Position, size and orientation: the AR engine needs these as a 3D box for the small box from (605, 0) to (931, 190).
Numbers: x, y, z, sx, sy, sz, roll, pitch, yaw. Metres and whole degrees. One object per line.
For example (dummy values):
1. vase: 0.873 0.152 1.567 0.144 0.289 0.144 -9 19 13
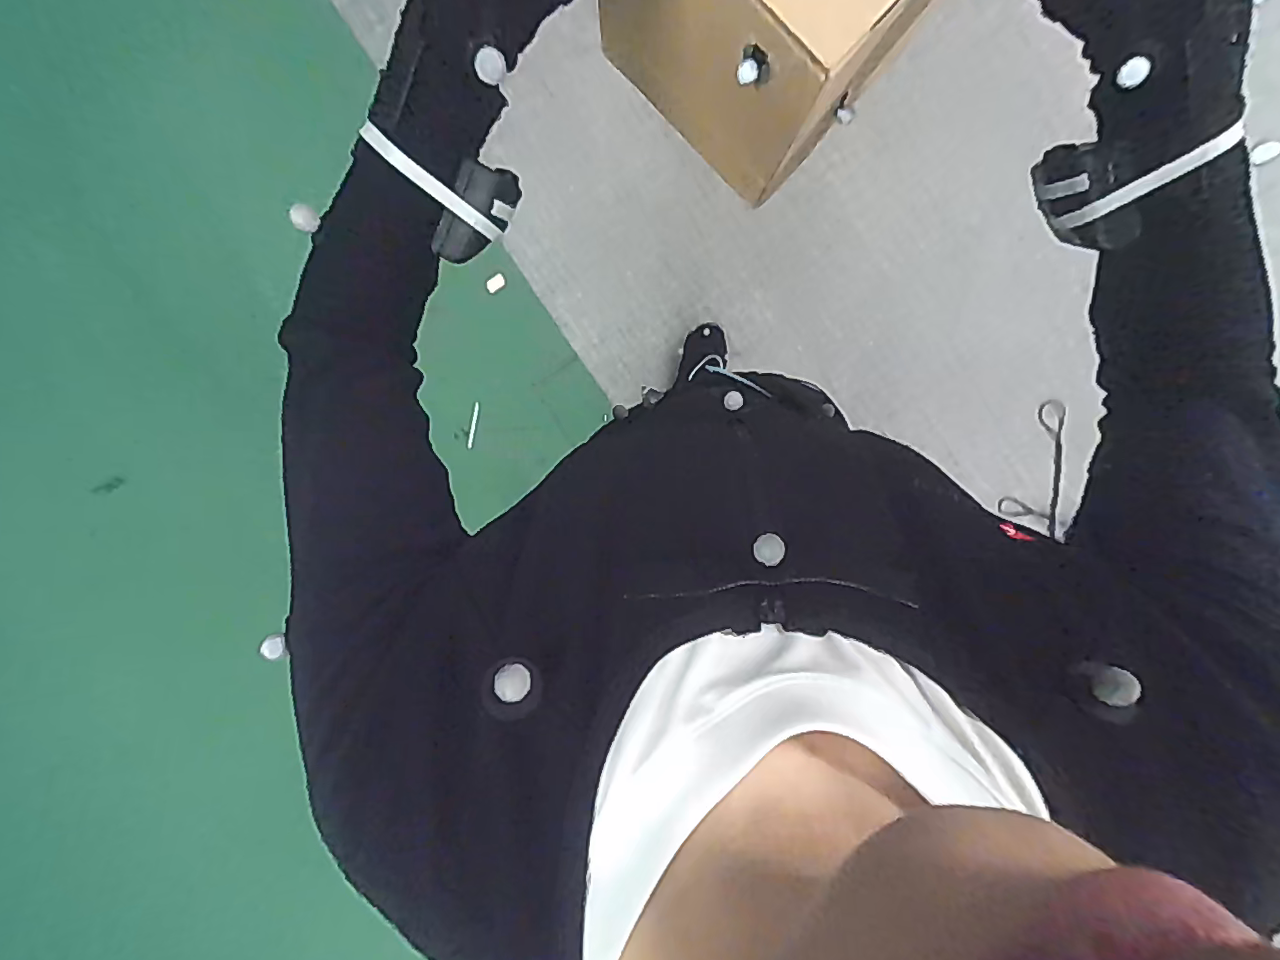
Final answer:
1. small box: 0.087 -0.337 0.354 0.179 0.176 0.168 44 93 -5
